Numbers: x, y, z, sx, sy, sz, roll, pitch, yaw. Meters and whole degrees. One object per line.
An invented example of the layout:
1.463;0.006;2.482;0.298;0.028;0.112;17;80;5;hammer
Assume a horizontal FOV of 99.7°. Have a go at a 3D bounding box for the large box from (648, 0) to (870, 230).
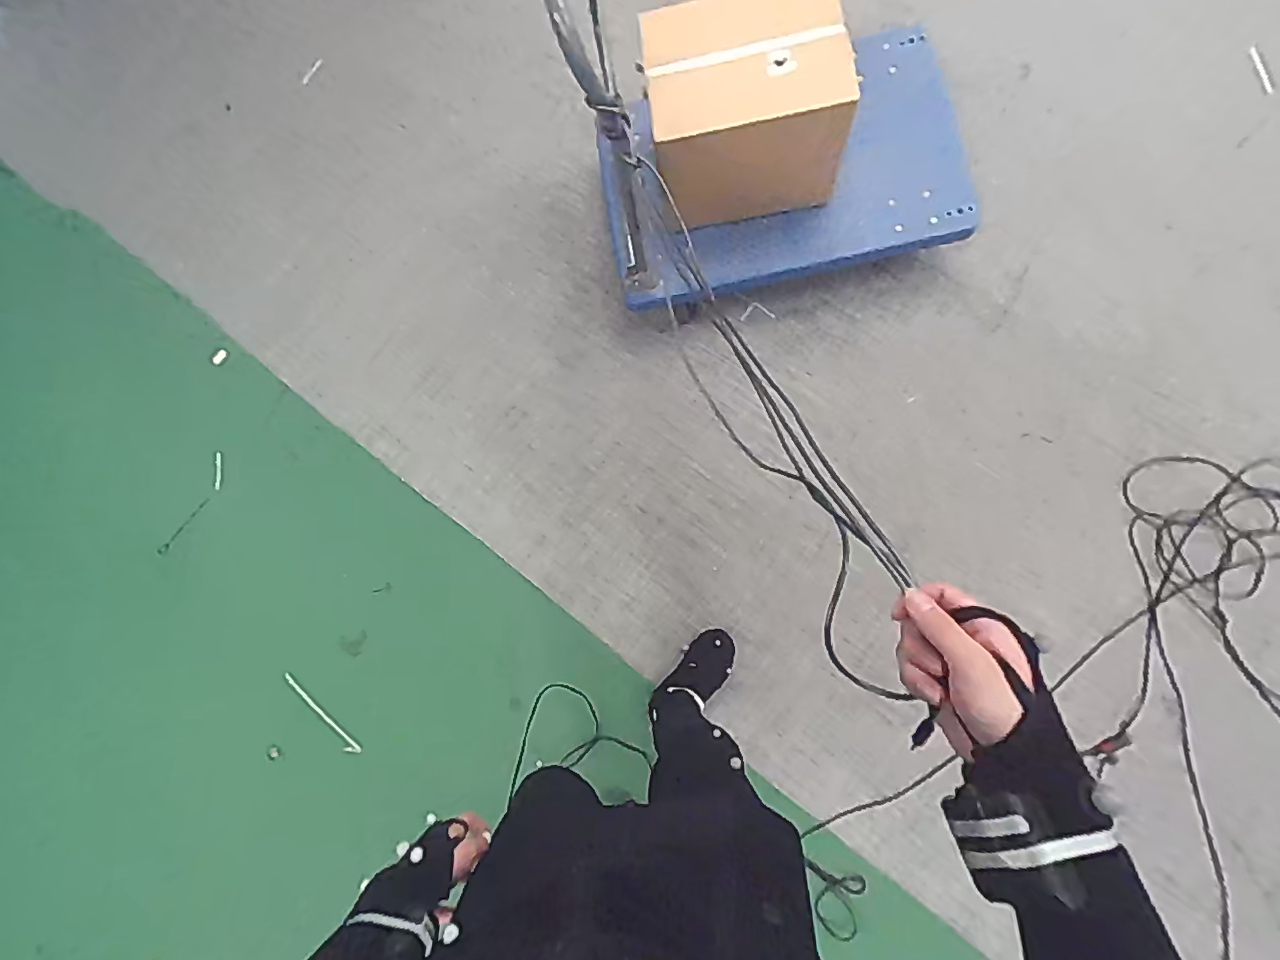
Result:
0.246;-0.821;1.219;0.408;0.320;0.320;-7;81;7;large box
